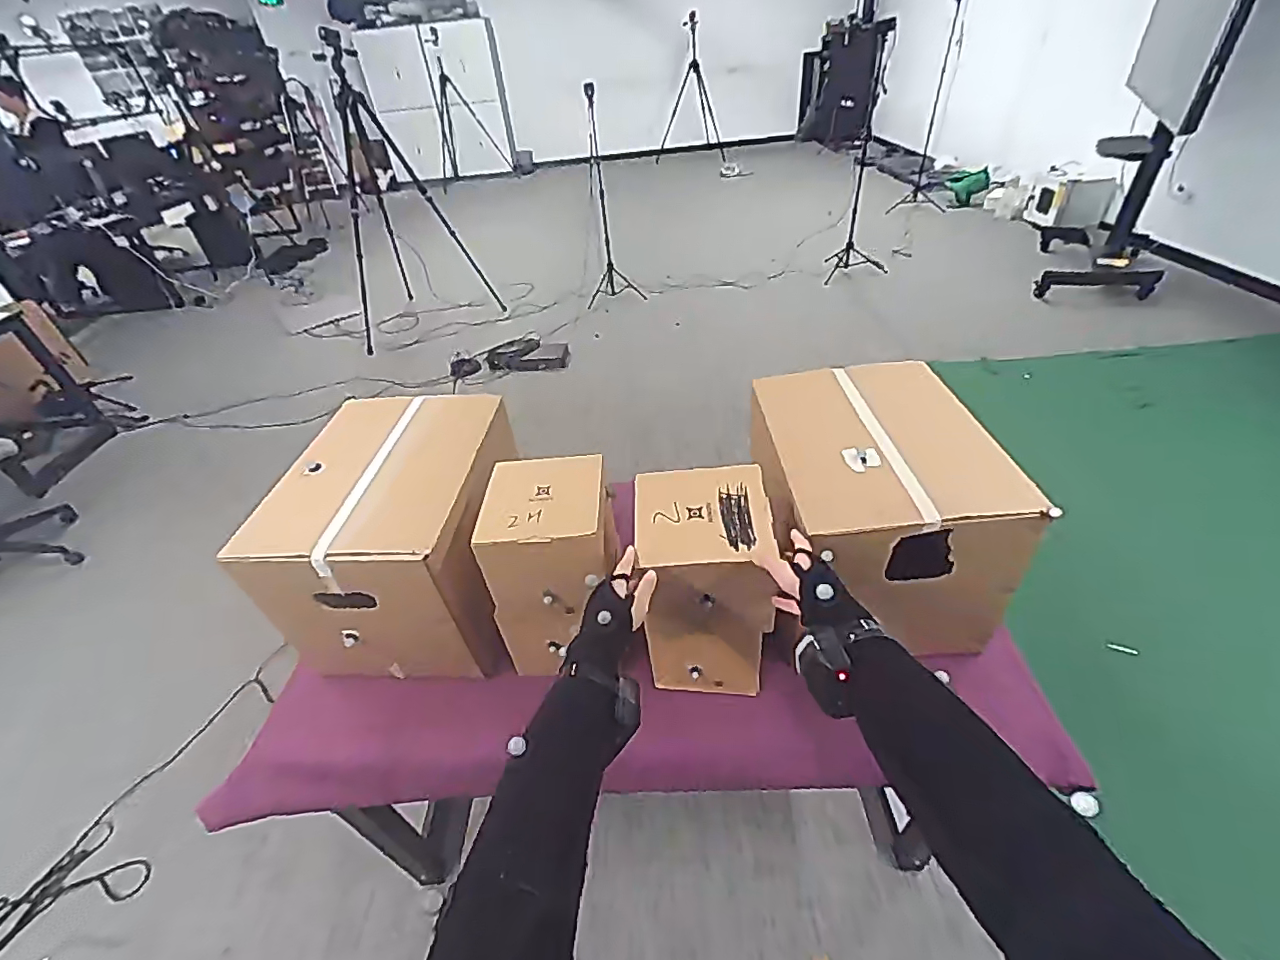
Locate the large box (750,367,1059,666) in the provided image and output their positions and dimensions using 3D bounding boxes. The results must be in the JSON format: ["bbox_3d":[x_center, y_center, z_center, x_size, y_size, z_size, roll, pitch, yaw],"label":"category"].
[{"bbox_3d":[0.380,0.050,0.925,0.320,0.320,0.408,-6,40,4],"label":"large box"}]

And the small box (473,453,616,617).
[{"bbox_3d":[-0.128,0.080,0.803,0.168,0.176,0.179,-4,39,4],"label":"small box"}]
